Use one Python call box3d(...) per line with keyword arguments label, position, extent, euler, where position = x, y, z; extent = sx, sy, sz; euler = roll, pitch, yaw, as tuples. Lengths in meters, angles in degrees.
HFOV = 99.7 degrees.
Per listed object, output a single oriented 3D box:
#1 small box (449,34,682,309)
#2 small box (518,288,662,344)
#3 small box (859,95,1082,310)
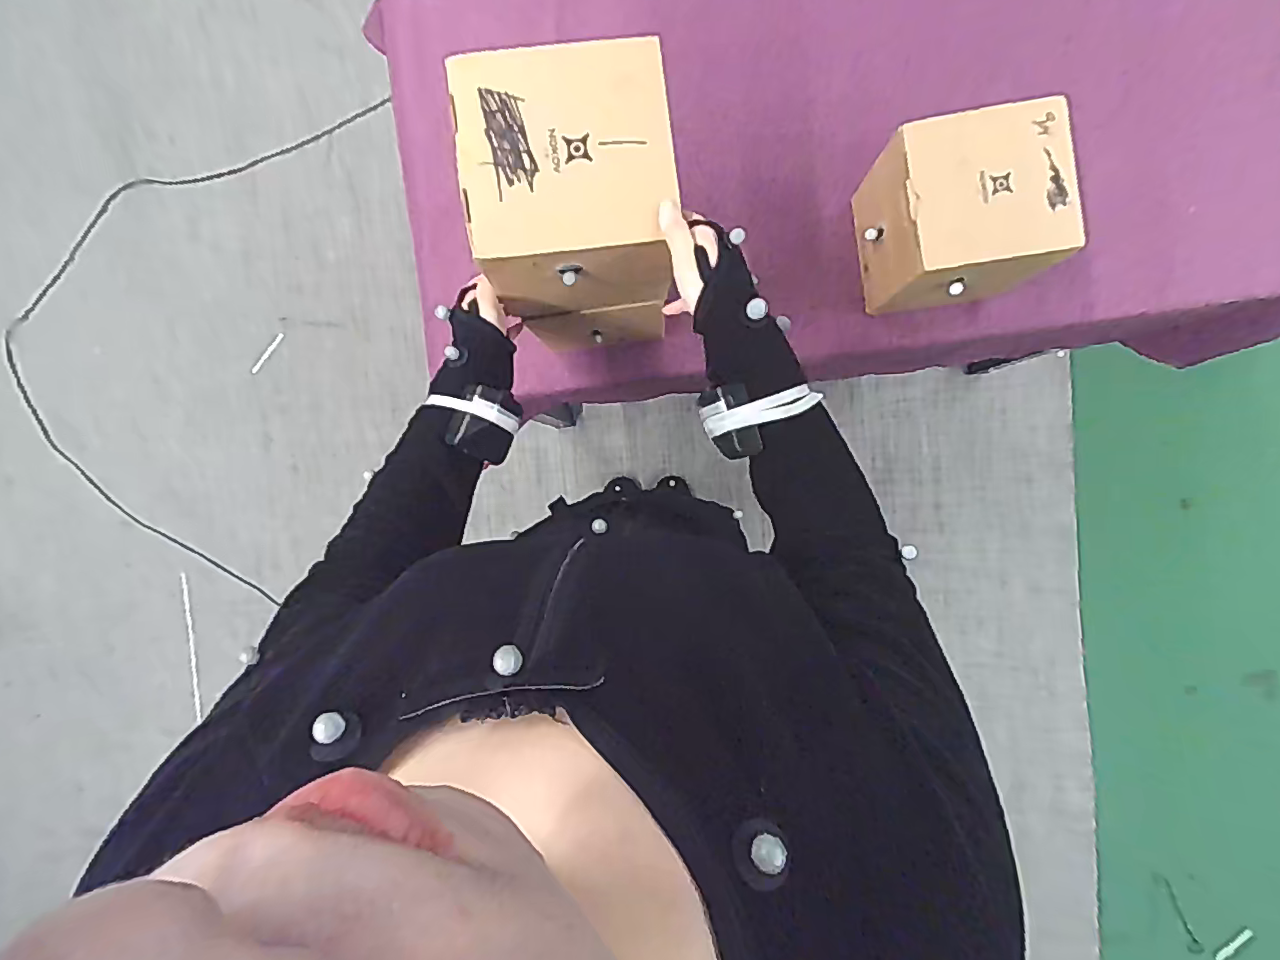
box3d(label="small box", position=(-0.063, -0.273, 0.517), extent=(0.179, 0.176, 0.168), euler=(-7, 92, -3))
box3d(label="small box", position=(-0.062, -0.278, 0.689), extent=(0.168, 0.176, 0.179), euler=(-6, 91, 3))
box3d(label="small box", position=(0.382, -0.320, 0.661), extent=(0.179, 0.176, 0.168), euler=(-8, 91, 4))
